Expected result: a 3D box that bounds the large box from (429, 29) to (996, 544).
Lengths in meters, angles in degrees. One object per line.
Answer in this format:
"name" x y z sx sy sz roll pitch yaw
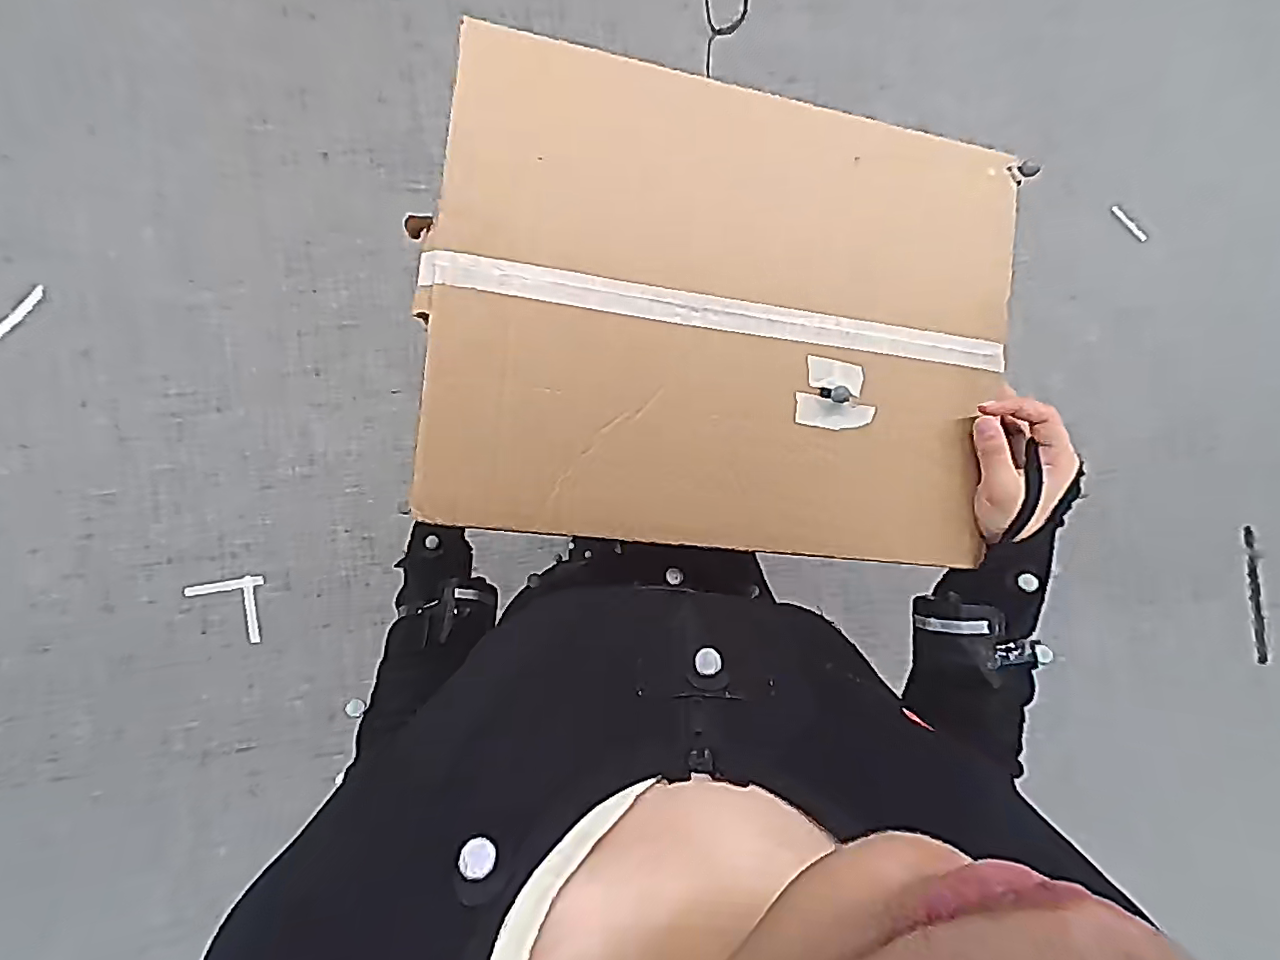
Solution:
"large box" 0.040 -0.118 0.522 0.408 0.320 0.320 6 89 -12
